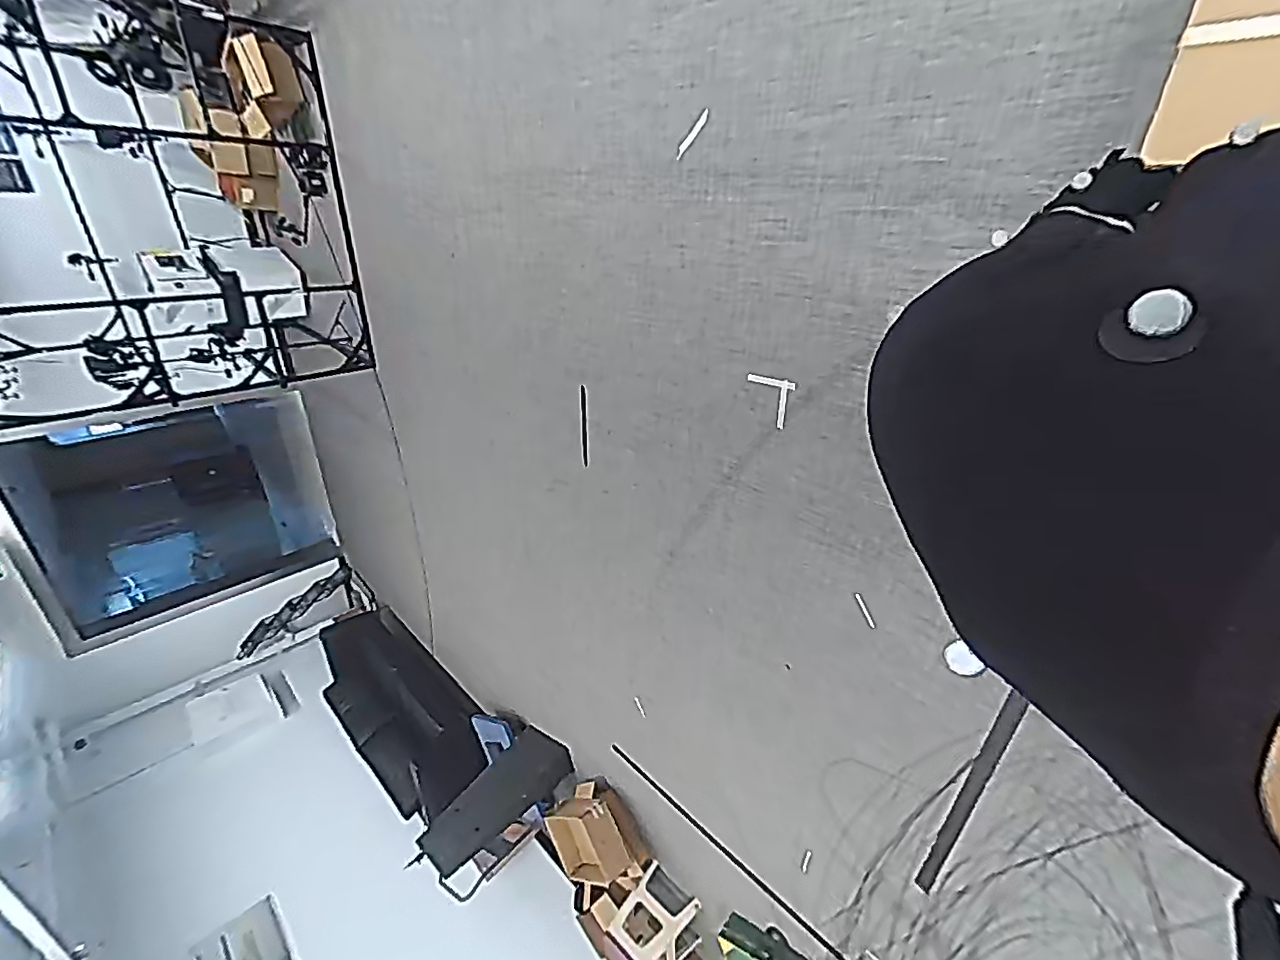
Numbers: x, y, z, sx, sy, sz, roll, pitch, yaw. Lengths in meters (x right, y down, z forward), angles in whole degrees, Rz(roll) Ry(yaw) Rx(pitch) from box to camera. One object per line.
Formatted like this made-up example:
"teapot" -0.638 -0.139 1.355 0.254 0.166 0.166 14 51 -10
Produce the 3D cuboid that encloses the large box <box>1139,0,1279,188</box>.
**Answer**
"large box" 1.008 -0.590 0.737 0.408 0.320 0.320 25 124 39
